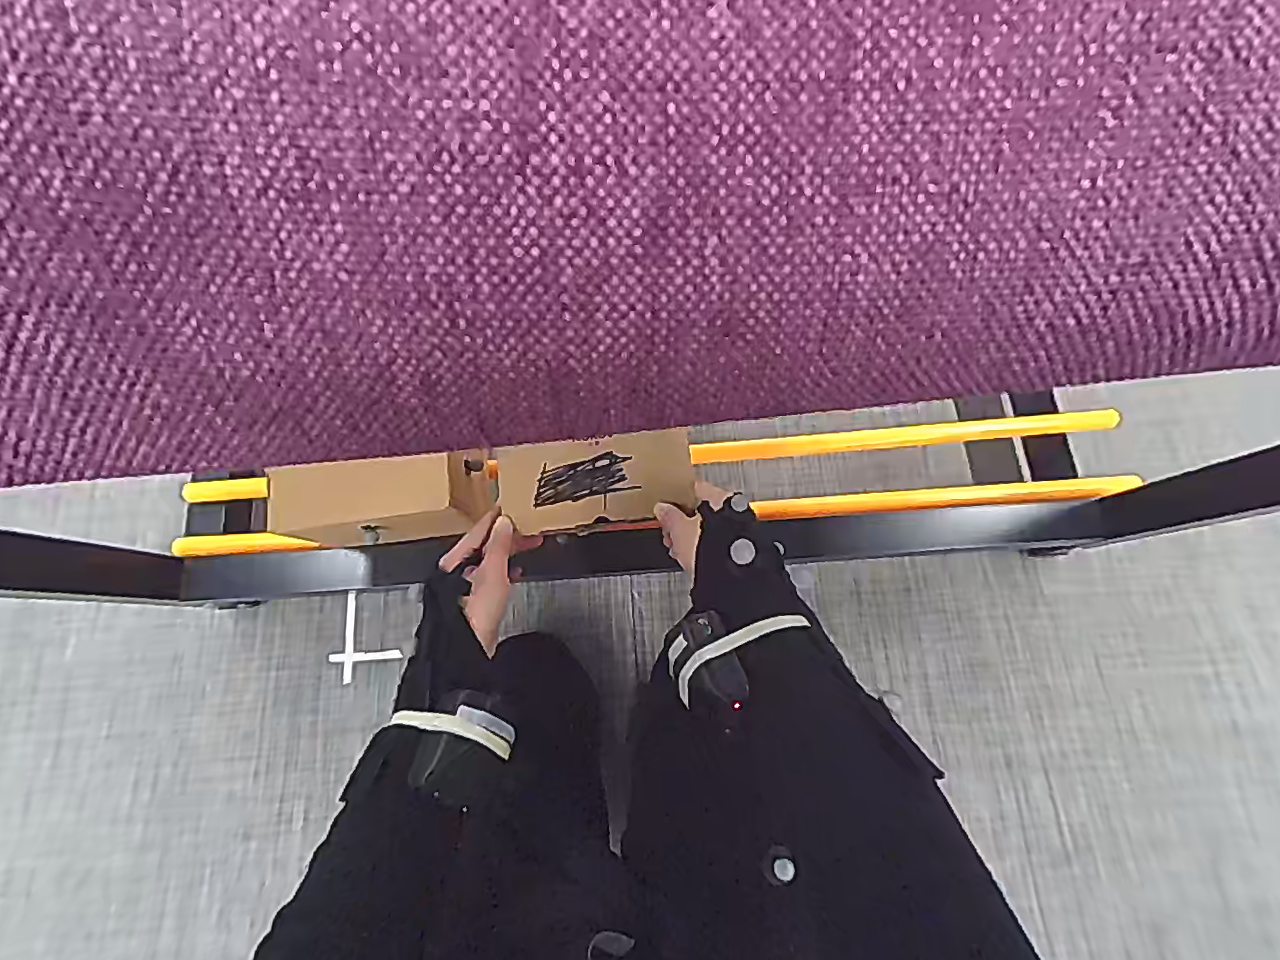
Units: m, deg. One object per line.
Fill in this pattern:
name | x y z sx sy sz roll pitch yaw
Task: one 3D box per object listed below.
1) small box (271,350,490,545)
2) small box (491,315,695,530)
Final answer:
small box | -0.273 -0.026 0.607 0.179 0.176 0.168 -8 77 -2
small box | -0.043 -0.045 0.543 0.168 0.176 0.179 -6 84 -3
